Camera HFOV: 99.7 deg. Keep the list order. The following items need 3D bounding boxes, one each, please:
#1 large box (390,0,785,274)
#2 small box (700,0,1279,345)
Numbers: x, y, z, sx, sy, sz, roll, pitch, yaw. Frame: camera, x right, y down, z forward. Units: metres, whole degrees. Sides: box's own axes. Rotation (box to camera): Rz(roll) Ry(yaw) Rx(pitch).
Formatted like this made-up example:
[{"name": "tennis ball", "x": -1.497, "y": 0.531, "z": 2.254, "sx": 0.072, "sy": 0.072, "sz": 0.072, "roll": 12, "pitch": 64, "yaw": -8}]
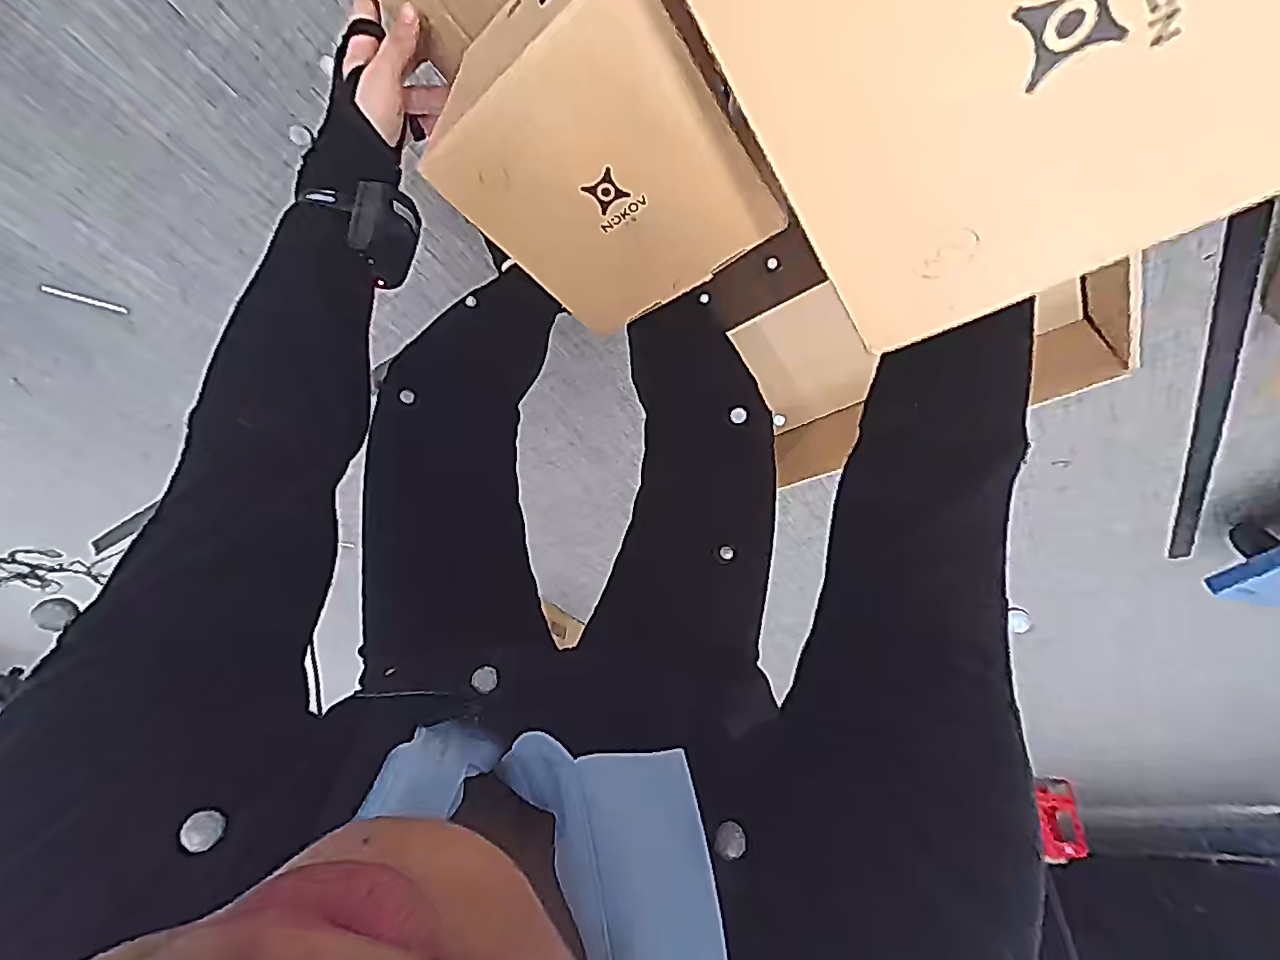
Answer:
[{"name": "large box", "x": 0.059, "y": -0.481, "z": 0.474, "sx": 0.408, "sy": 0.320, "sz": 0.320, "roll": -22, "pitch": 135, "yaw": 32}, {"name": "small box", "x": 0.125, "y": -0.186, "z": 0.178, "sx": 0.179, "sy": 0.176, "sz": 0.168, "roll": -21, "pitch": 136, "yaw": 31}]
